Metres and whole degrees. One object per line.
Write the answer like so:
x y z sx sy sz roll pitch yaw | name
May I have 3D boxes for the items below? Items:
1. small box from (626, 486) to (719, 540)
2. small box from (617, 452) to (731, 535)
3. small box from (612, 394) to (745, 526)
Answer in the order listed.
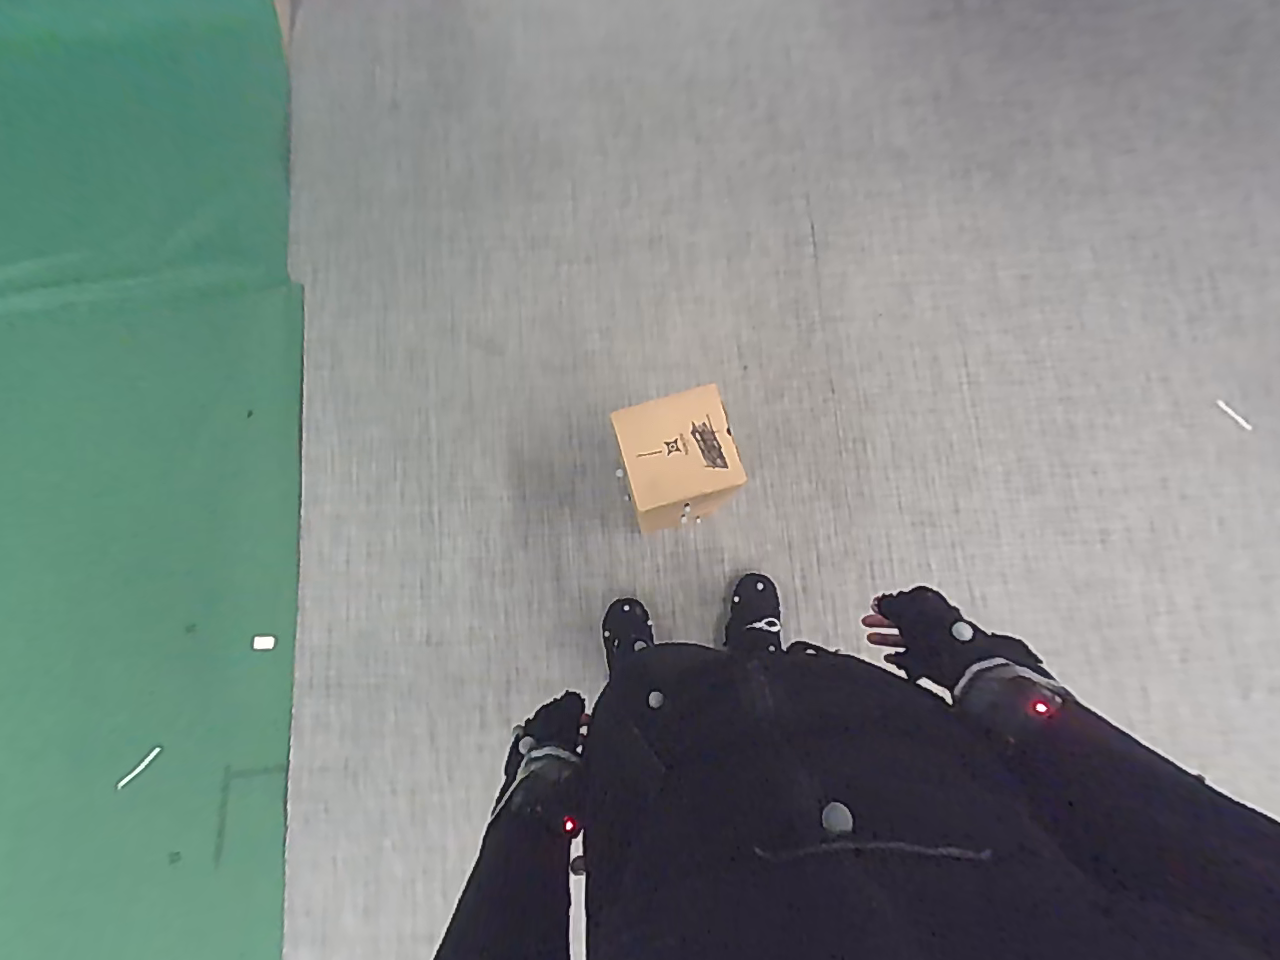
0.066 0.035 1.238 0.179 0.176 0.168 -17 80 0 | small box
0.064 0.005 1.079 0.179 0.176 0.168 -19 81 -1 | small box
0.060 -0.025 0.915 0.179 0.176 0.168 -16 80 0 | small box
